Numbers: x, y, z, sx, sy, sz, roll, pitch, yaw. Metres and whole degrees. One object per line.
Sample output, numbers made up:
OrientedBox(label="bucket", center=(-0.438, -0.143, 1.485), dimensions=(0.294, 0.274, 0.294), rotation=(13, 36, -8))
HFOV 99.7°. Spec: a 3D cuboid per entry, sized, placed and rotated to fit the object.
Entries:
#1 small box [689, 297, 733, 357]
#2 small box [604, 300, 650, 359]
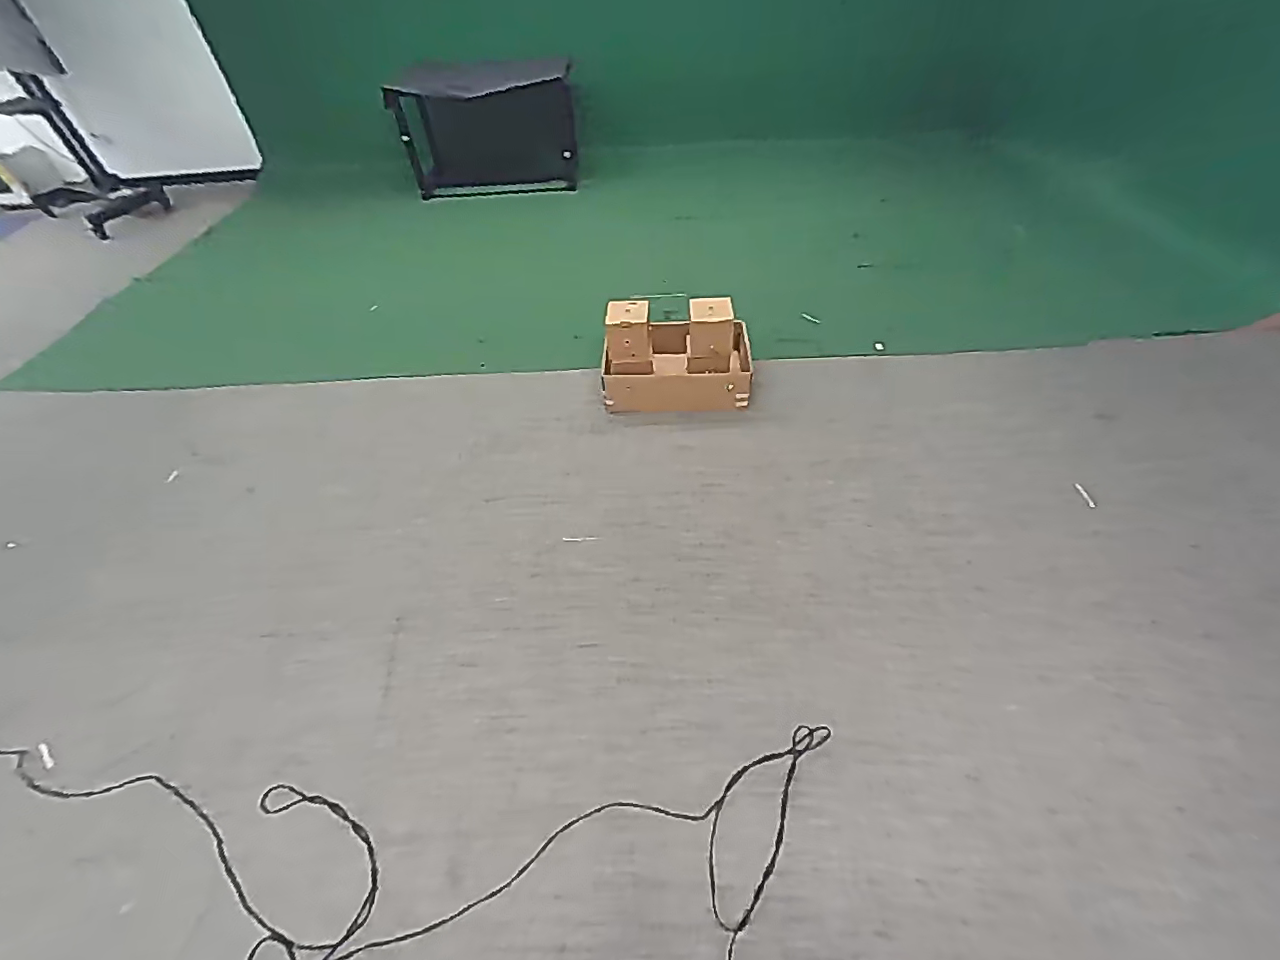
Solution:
OrientedBox(label="small box", center=(0.281, -0.614, 2.173), dimensions=(0.168, 0.176, 0.179), rotation=(-2, 48, 4))
OrientedBox(label="small box", center=(-0.049, -0.607, 2.193), dimensions=(0.168, 0.176, 0.179), rotation=(0, 48, 5))
